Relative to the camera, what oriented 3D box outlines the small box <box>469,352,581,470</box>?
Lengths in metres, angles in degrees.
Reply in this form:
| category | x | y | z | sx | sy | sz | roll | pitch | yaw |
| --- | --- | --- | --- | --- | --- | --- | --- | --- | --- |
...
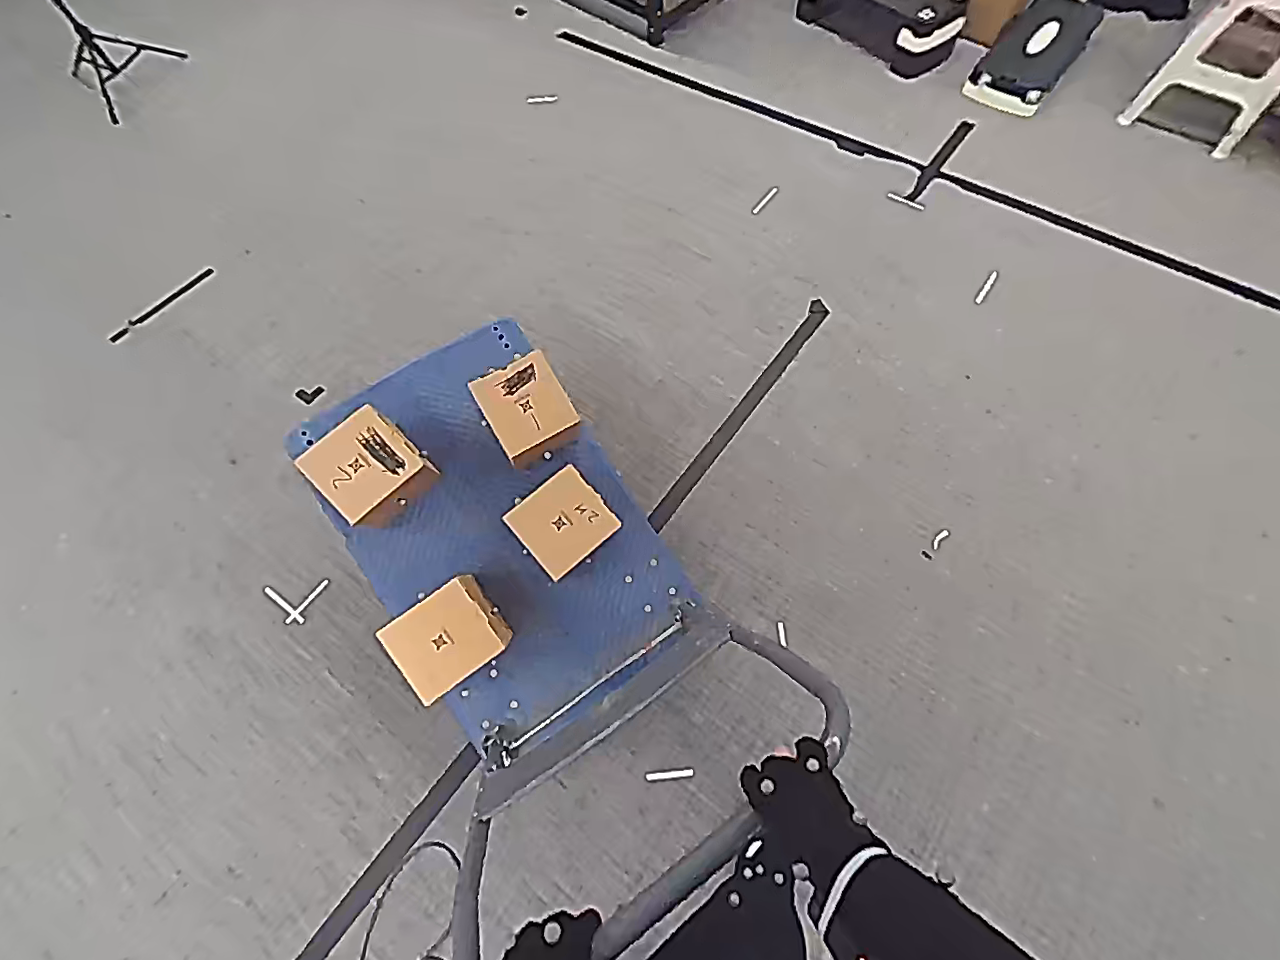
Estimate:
| category | x | y | z | sx | sy | sz | roll | pitch | yaw |
| --- | --- | --- | --- | --- | --- | --- | --- | --- | --- |
| small box | -0.244 | -0.141 | 1.168 | 0.168 | 0.176 | 0.179 | -31 | 88 | -11 |

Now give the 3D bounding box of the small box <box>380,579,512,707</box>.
| category | x | y | z | sx | sy | sz | roll | pitch | yaw |
| --- | --- | --- | --- | --- | --- | --- | --- | --- | --- |
| small box | -0.375 | 0.316 | 1.083 | 0.179 | 0.176 | 0.168 | -36 | 88 | -13 |

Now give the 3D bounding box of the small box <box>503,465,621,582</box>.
| category | x | y | z | sx | sy | sz | roll | pitch | yaw |
| --- | --- | --- | --- | --- | --- | --- | --- | --- | --- |
| small box | -0.162 | 0.096 | 1.144 | 0.179 | 0.176 | 0.168 | -40 | 89 | -11 |
